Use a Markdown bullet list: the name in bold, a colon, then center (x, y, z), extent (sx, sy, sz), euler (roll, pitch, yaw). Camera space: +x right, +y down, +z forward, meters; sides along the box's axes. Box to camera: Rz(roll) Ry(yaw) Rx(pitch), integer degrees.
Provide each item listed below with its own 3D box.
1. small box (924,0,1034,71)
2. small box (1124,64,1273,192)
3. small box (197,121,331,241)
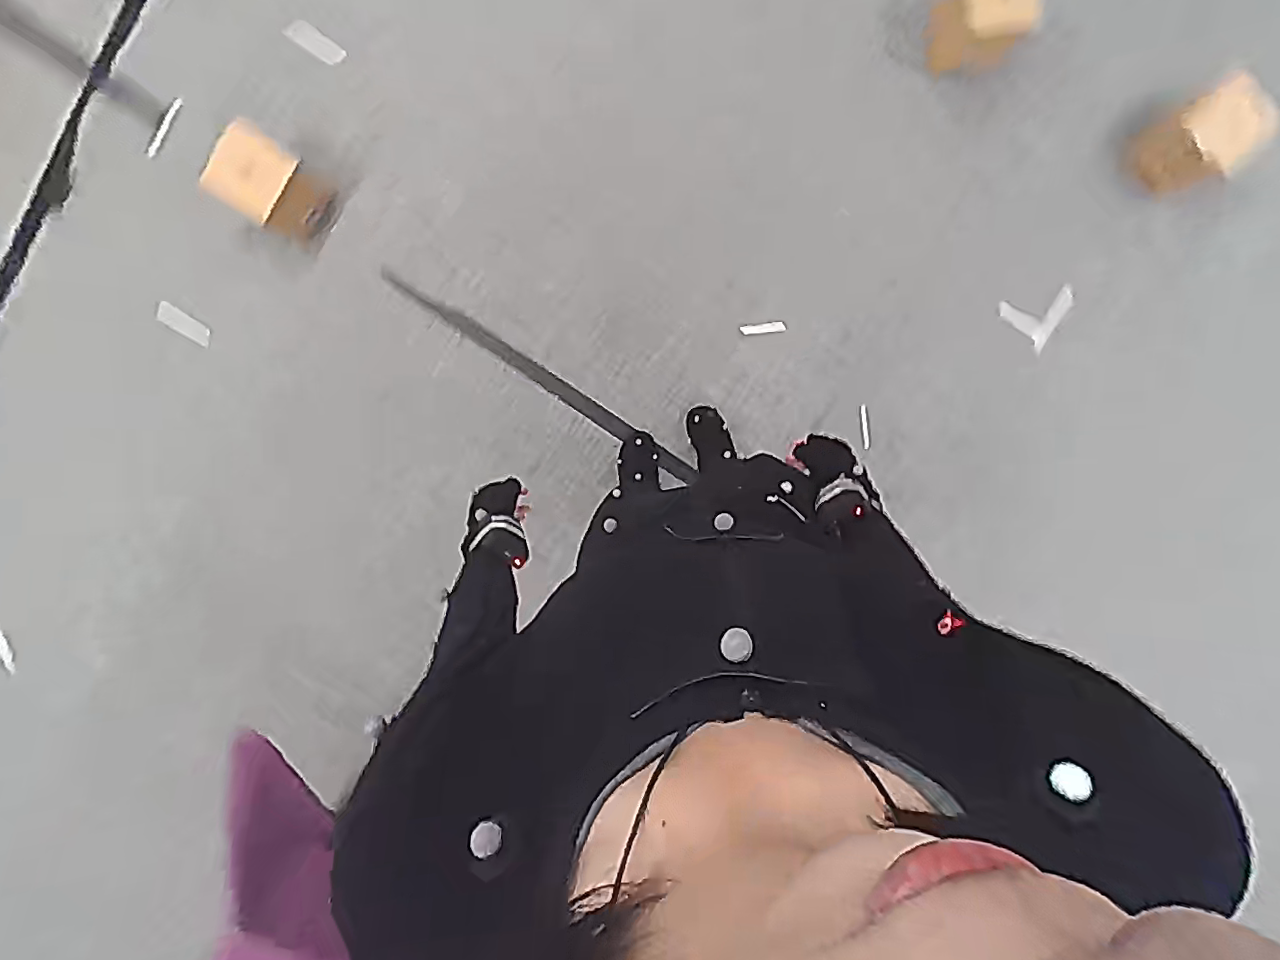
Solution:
- **small box**: center (0.815, -1.145, 1.314), extent (0.168, 0.176, 0.179), euler (-7, 98, 0)
- **small box**: center (1.383, -0.871, 1.359), extent (0.168, 0.176, 0.179), euler (41, 95, -6)
- **small box**: center (-0.914, -0.720, 1.329), extent (0.179, 0.176, 0.168), euler (32, 96, -6)
